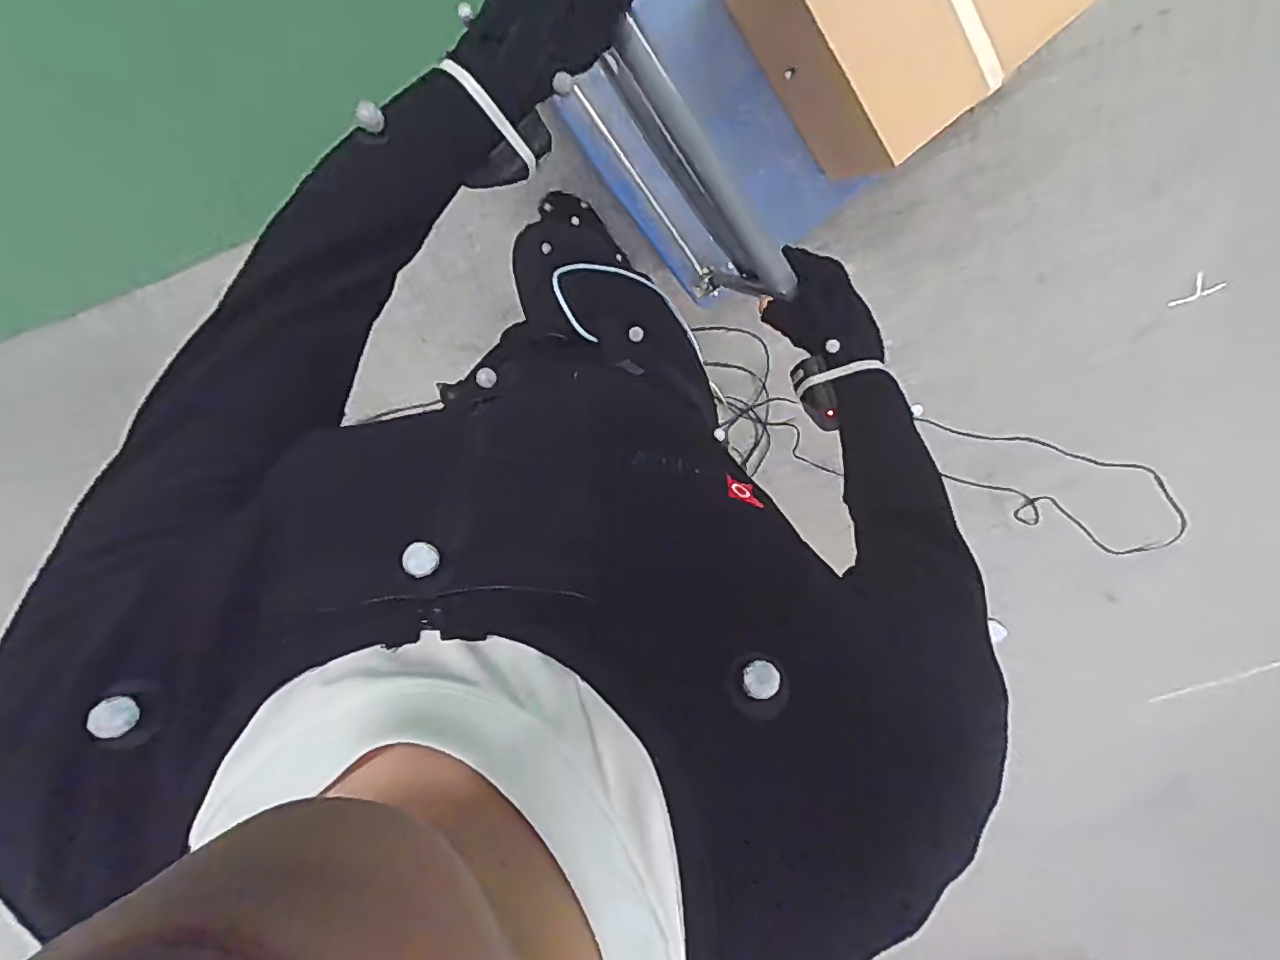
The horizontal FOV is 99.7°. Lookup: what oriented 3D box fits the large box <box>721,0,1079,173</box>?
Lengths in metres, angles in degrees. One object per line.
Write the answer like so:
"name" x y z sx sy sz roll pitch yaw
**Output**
"large box" 0.364 -0.768 0.842 0.320 0.320 0.408 -38 111 15
